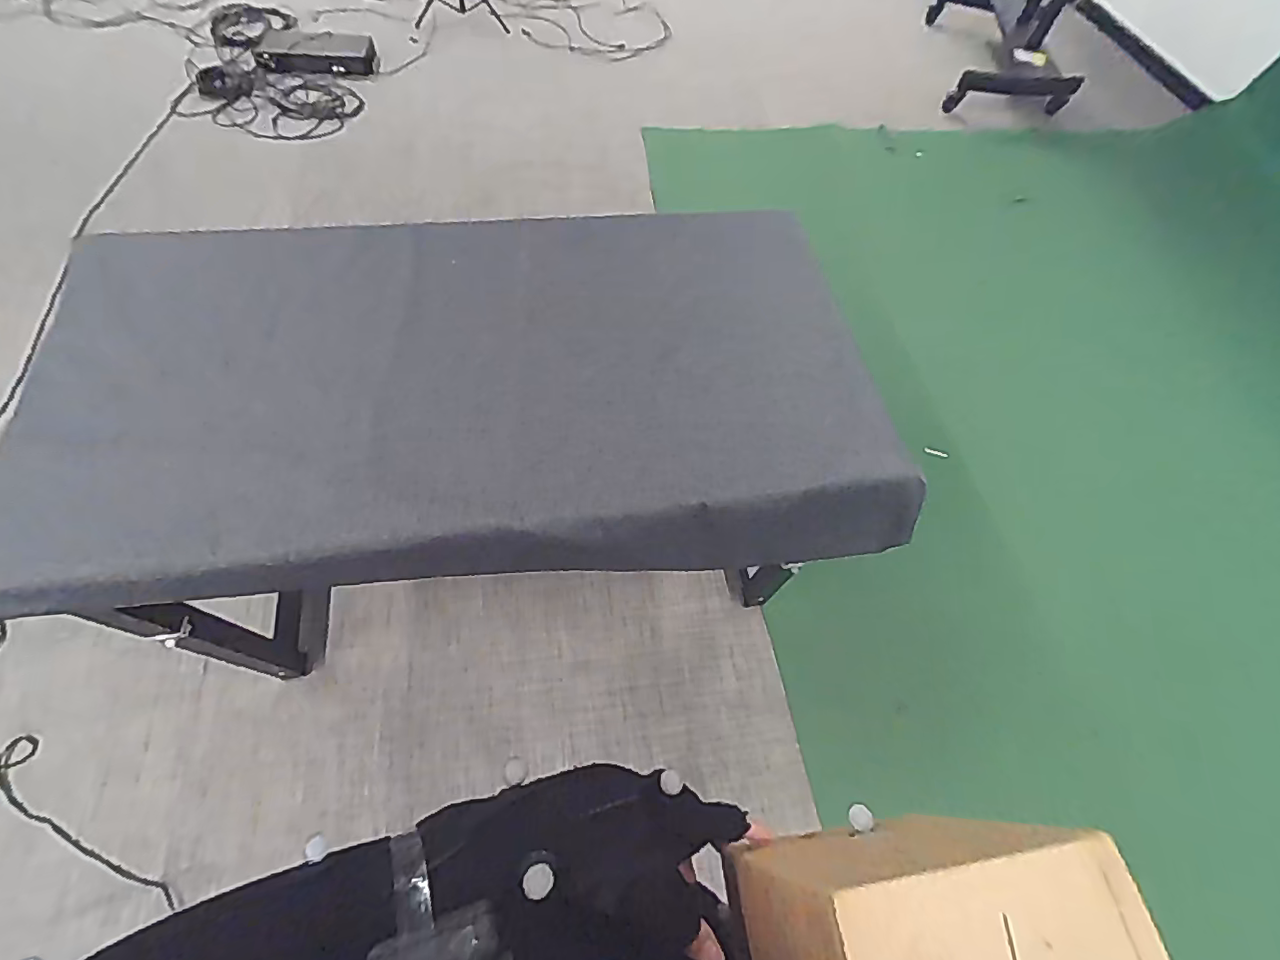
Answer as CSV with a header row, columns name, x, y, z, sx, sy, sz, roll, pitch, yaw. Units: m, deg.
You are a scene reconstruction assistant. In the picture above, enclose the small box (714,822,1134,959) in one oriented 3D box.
name,x,y,z,sx,sy,sz,roll,pitch,yaw
small box,0.154,0.309,0.306,0.168,0.176,0.179,1,60,-13
